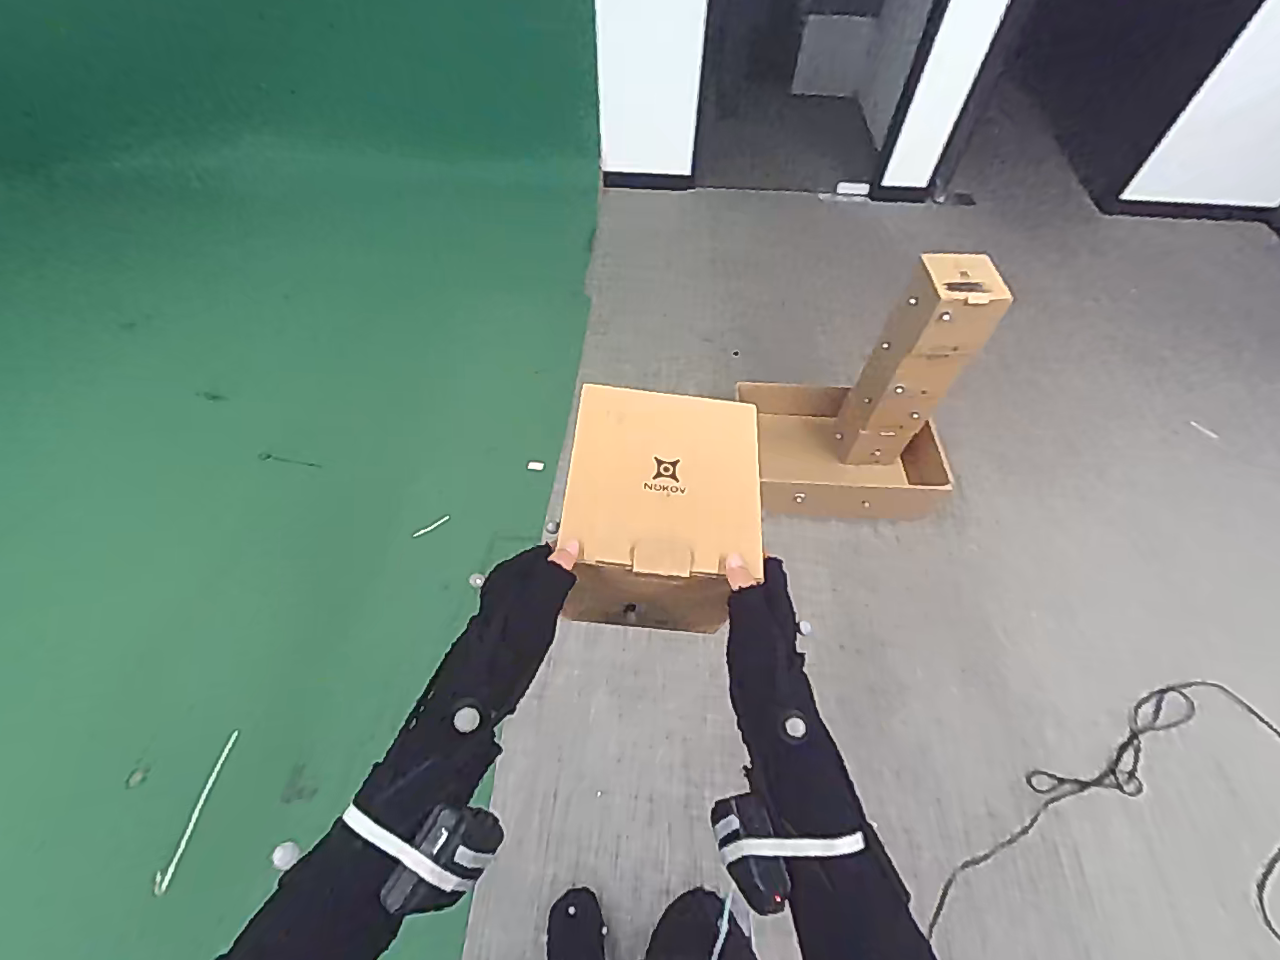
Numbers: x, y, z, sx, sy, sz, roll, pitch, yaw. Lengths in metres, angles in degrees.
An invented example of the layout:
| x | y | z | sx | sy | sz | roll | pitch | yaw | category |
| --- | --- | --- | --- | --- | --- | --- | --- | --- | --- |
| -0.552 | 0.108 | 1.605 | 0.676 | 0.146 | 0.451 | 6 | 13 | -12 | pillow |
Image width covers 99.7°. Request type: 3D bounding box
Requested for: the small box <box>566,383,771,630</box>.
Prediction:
| x | y | z | sx | sy | sz | roll | pitch | yaw | category |
| --- | --- | --- | --- | --- | --- | --- | --- | --- | --- |
| 0.019 | 0.034 | 0.531 | 0.168 | 0.176 | 0.179 | 7 | 61 | -4 | small box |

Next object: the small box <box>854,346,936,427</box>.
| x | y | z | sx | sy | sz | roll | pitch | yaw | category |
| --- | --- | --- | --- | --- | --- | --- | --- | --- | --- |
| 0.752 | -0.273 | 1.599 | 0.168 | 0.176 | 0.179 | 2 | 55 | 1 | small box |

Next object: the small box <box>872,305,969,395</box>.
| x | y | z | sx | sy | sz | roll | pitch | yaw | category |
| --- | --- | --- | --- | --- | --- | --- | --- | --- | --- |
| 0.752 | -0.351 | 1.474 | 0.168 | 0.176 | 0.179 | 3 | 56 | 1 | small box |

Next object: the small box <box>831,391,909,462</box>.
| x | y | z | sx | sy | sz | roll | pitch | yaw | category |
| --- | --- | --- | --- | --- | --- | --- | --- | --- | --- |
| 0.737 | -0.170 | 1.748 | 0.168 | 0.176 | 0.179 | -2 | 55 | 0 | small box |
